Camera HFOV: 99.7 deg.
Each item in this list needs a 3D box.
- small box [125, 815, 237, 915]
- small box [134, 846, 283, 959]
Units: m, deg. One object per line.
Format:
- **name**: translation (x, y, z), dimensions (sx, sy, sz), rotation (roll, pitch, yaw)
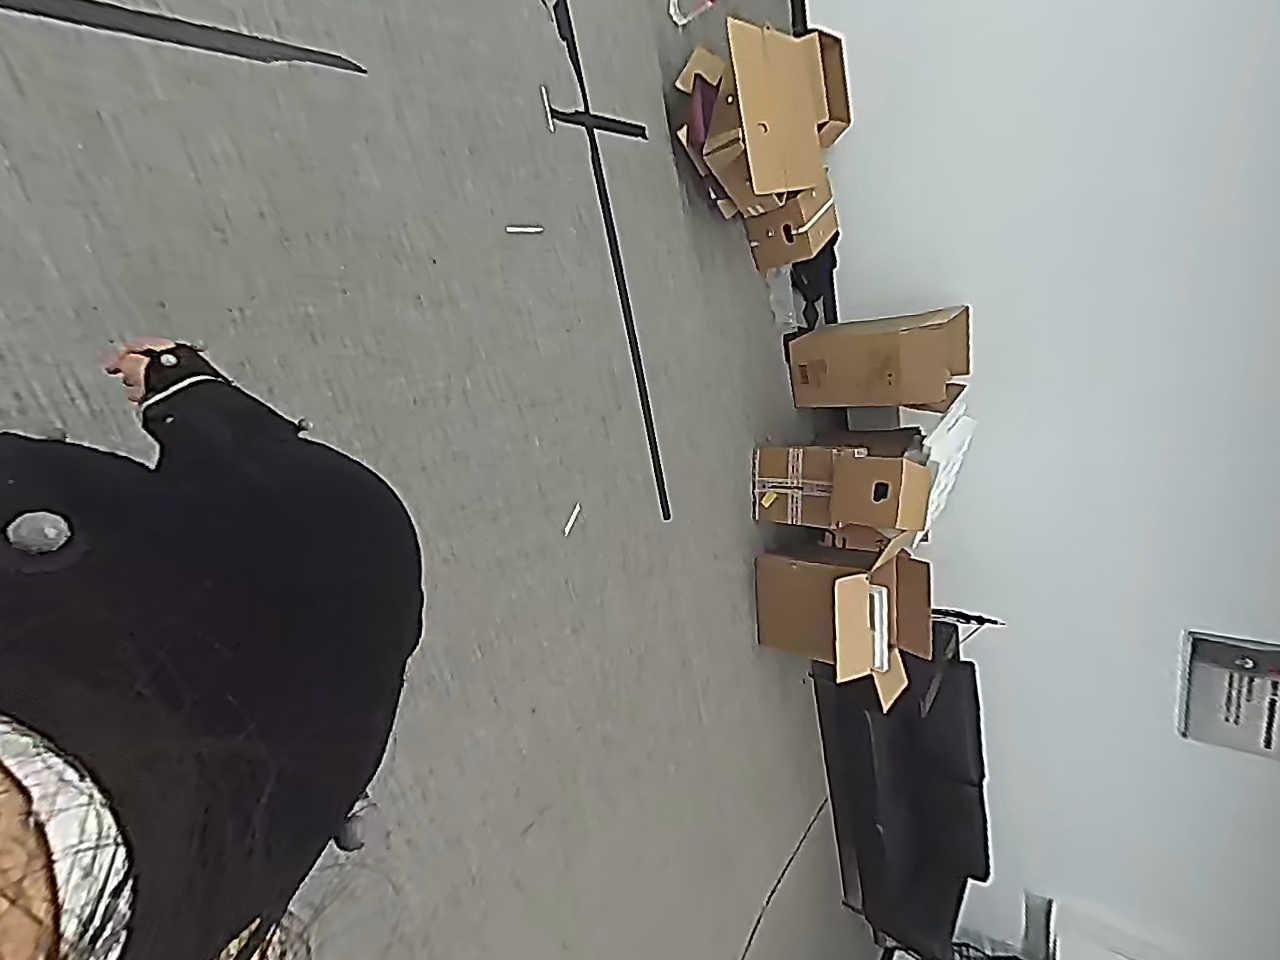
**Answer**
- **small box**: translation (-0.954, 0.856, 1.151), dimensions (0.168, 0.176, 0.179), rotation (-25, 110, -44)
- **small box**: translation (-0.832, 0.866, 1.039), dimensions (0.179, 0.176, 0.168), rotation (-26, 112, -44)
